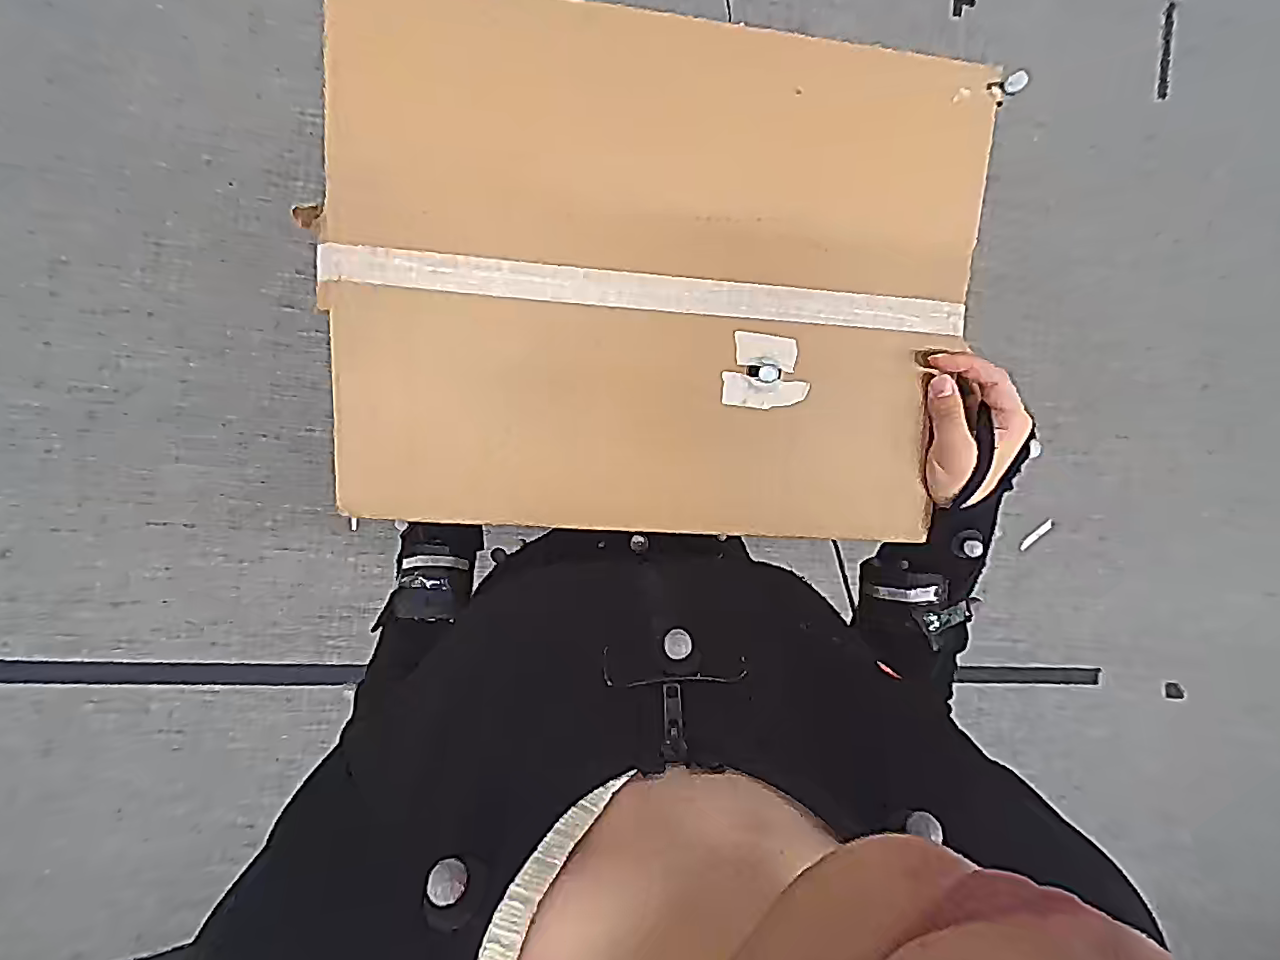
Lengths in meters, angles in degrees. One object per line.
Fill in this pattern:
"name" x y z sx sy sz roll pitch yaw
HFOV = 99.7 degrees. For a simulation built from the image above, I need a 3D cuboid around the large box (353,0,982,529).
"large box" 0.004 -0.143 0.500 0.408 0.320 0.320 3 100 -8
